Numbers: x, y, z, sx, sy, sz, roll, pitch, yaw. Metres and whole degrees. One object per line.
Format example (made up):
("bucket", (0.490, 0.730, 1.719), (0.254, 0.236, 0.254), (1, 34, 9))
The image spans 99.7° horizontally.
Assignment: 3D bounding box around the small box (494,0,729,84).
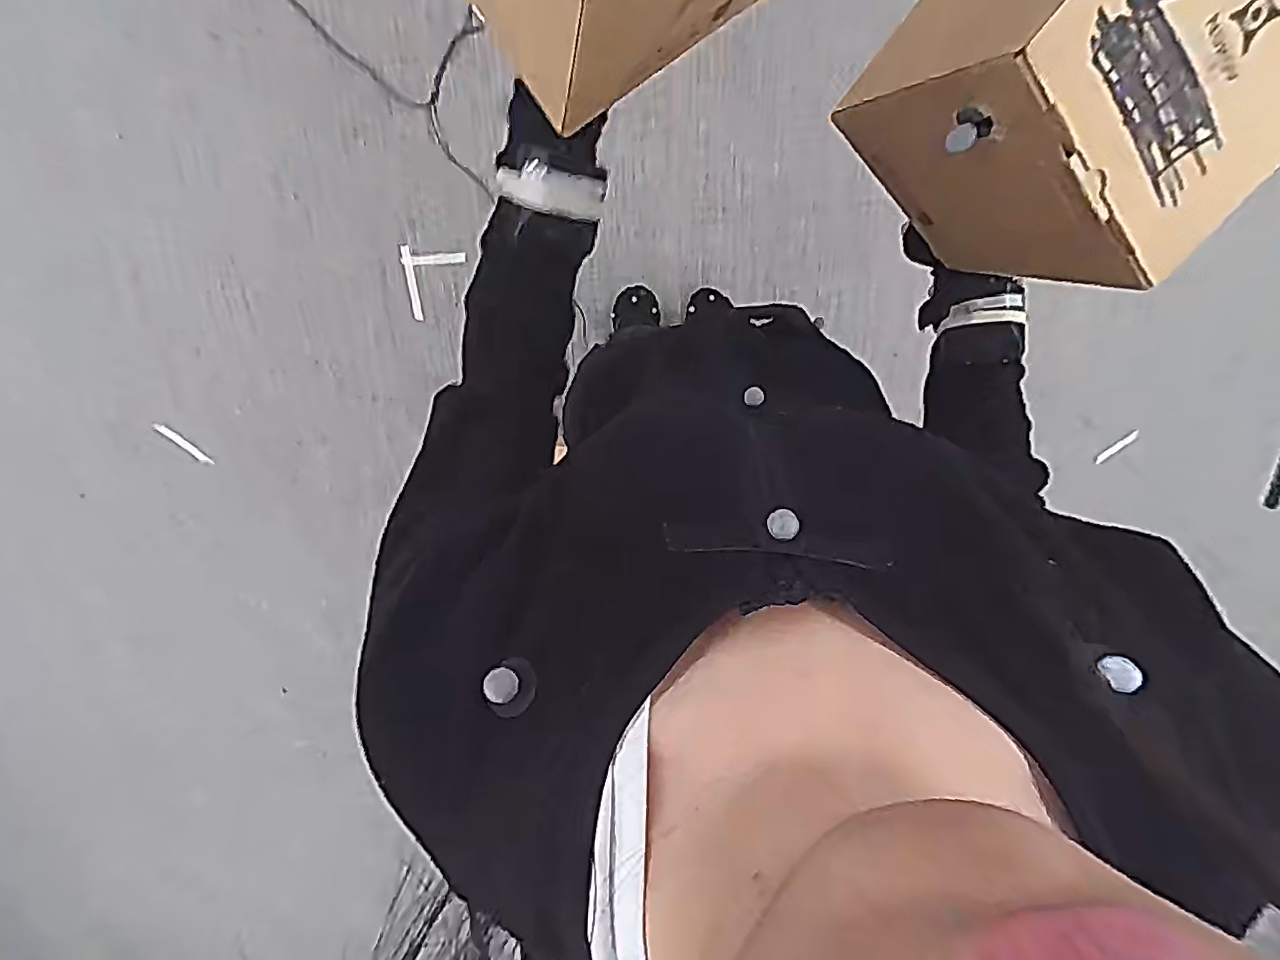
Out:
("small box", (-0.006, -0.296, 0.200), (0.168, 0.176, 0.179), (-37, 104, -3))
